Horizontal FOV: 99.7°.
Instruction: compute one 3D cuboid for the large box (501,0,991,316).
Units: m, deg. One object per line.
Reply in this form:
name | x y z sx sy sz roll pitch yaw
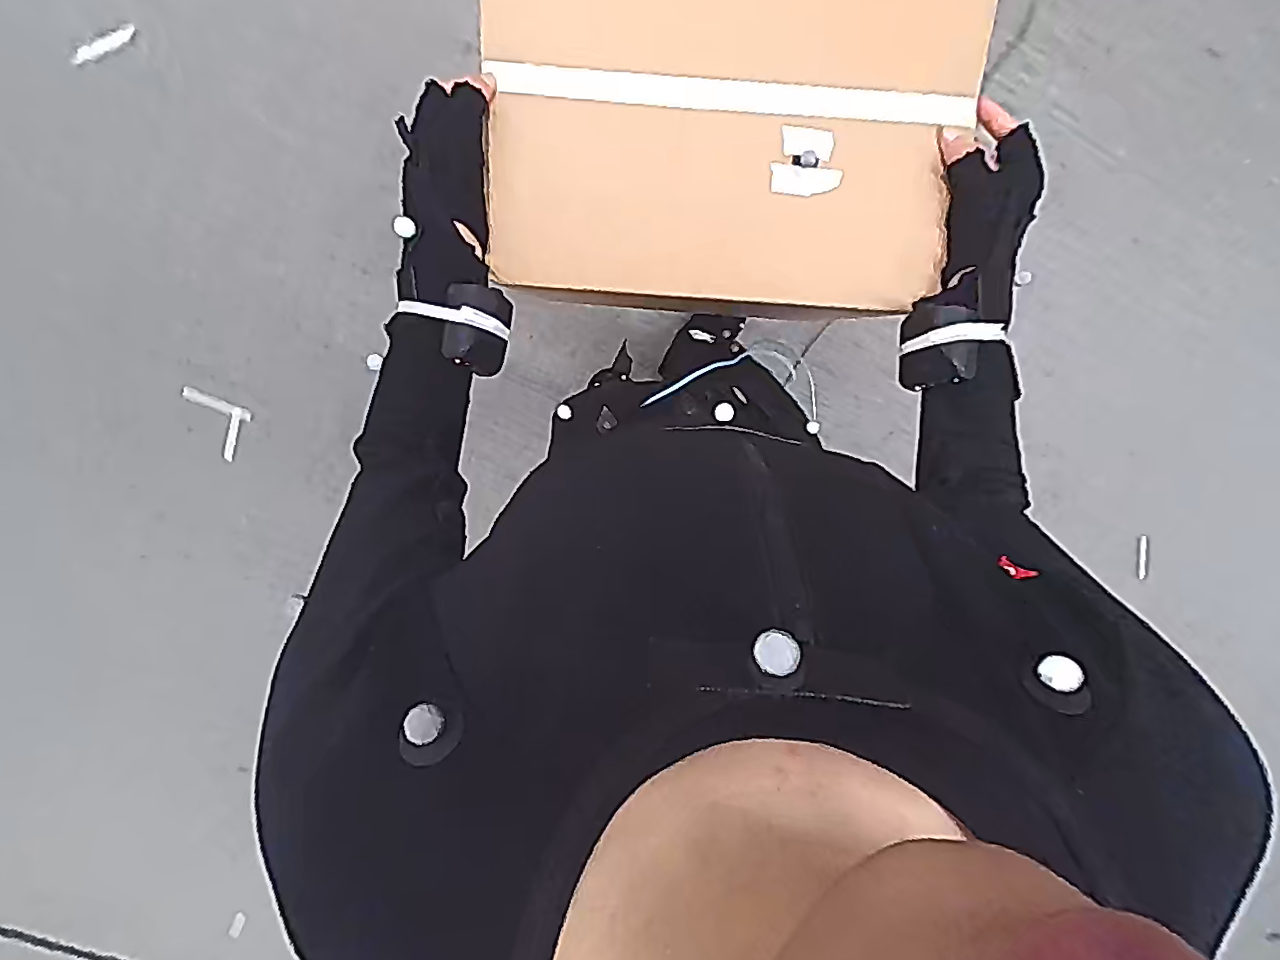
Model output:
large box | 0.077 -0.360 0.601 0.408 0.320 0.320 5 106 -3
